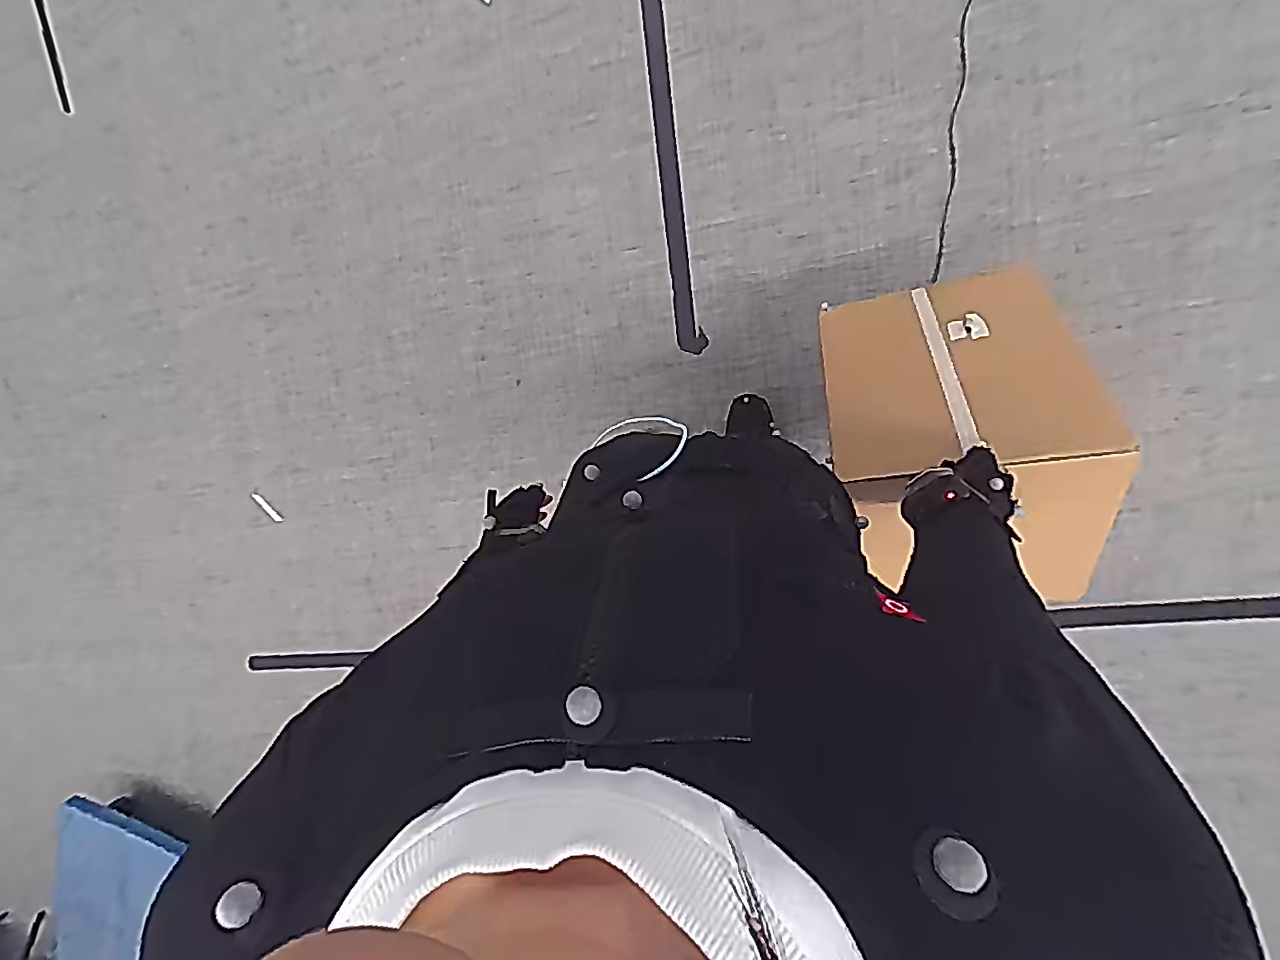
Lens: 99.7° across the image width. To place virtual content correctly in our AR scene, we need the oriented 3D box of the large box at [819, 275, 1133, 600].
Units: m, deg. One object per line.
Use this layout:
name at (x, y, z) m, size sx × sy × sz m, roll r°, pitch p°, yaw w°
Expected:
large box at (0.483, -0.062, 0.874) m, size 0.320 × 0.408 × 0.320 m, roll -7°, pitch 135°, yaw 20°
